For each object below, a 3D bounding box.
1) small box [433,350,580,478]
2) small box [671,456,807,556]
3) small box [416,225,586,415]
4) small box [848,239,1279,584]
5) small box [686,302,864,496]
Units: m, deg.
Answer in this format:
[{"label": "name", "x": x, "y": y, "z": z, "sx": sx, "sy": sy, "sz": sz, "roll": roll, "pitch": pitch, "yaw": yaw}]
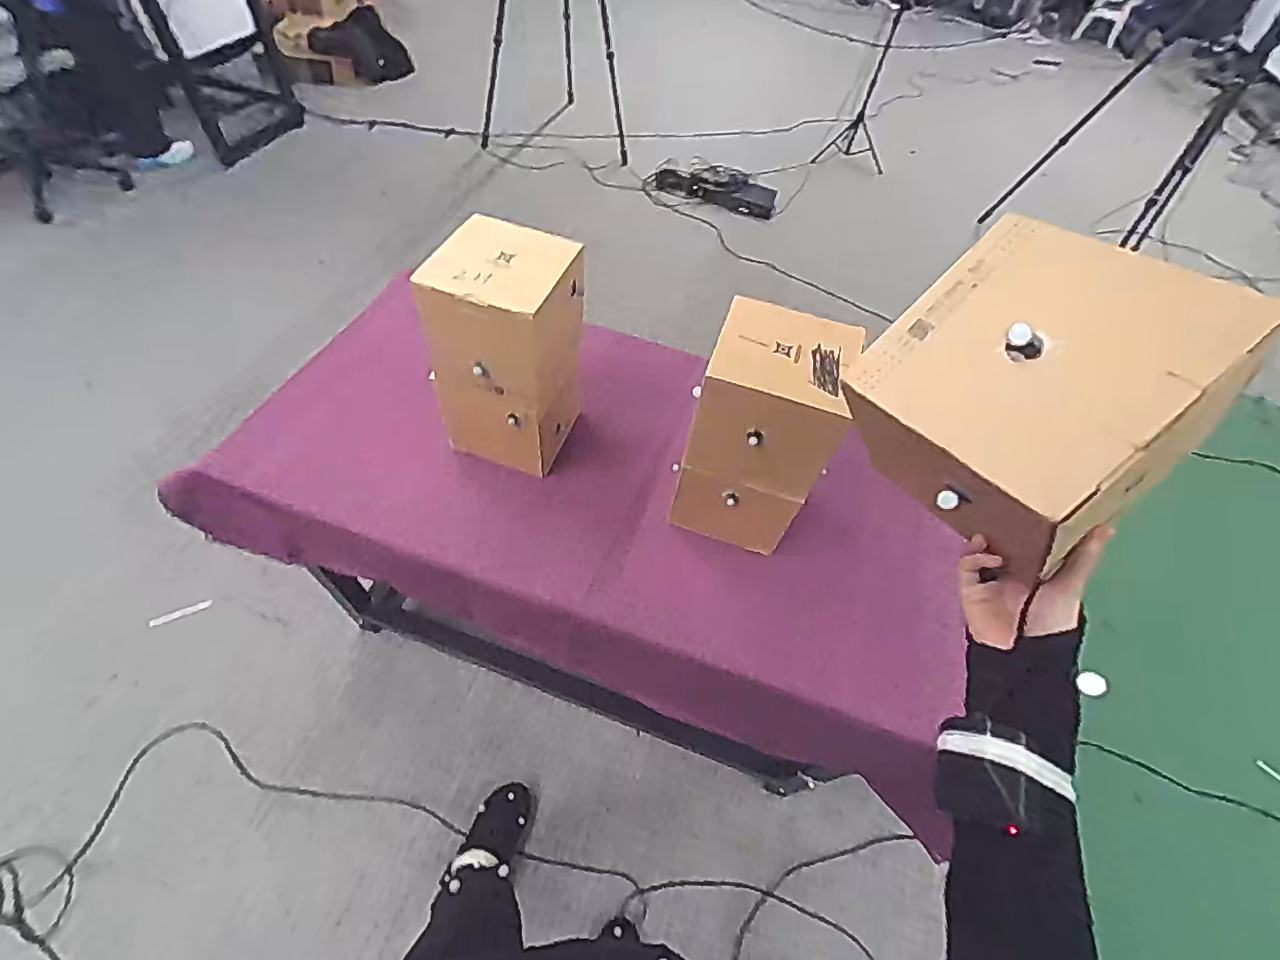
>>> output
[{"label": "small box", "x": -0.210, "y": -0.128, "z": 0.902, "sx": 0.179, "sy": 0.176, "sz": 0.168, "roll": 17, "pitch": 54, "yaw": 6}, {"label": "small box", "x": 0.159, "y": -0.003, "z": 0.851, "sx": 0.179, "sy": 0.176, "sz": 0.168, "roll": 19, "pitch": 55, "yaw": 6}, {"label": "small box", "x": -0.186, "y": -0.225, "z": 0.771, "sx": 0.168, "sy": 0.176, "sz": 0.179, "roll": 17, "pitch": 54, "yaw": 6}, {"label": "small box", "x": 0.286, "y": -0.054, "z": 0.411, "sx": 0.168, "sy": 0.179, "sz": 0.176, "roll": -45, "pitch": 51, "yaw": 6}, {"label": "small box", "x": 0.173, "y": -0.101, "z": 0.719, "sx": 0.179, "sy": 0.176, "sz": 0.168, "roll": 17, "pitch": 54, "yaw": 7}]
